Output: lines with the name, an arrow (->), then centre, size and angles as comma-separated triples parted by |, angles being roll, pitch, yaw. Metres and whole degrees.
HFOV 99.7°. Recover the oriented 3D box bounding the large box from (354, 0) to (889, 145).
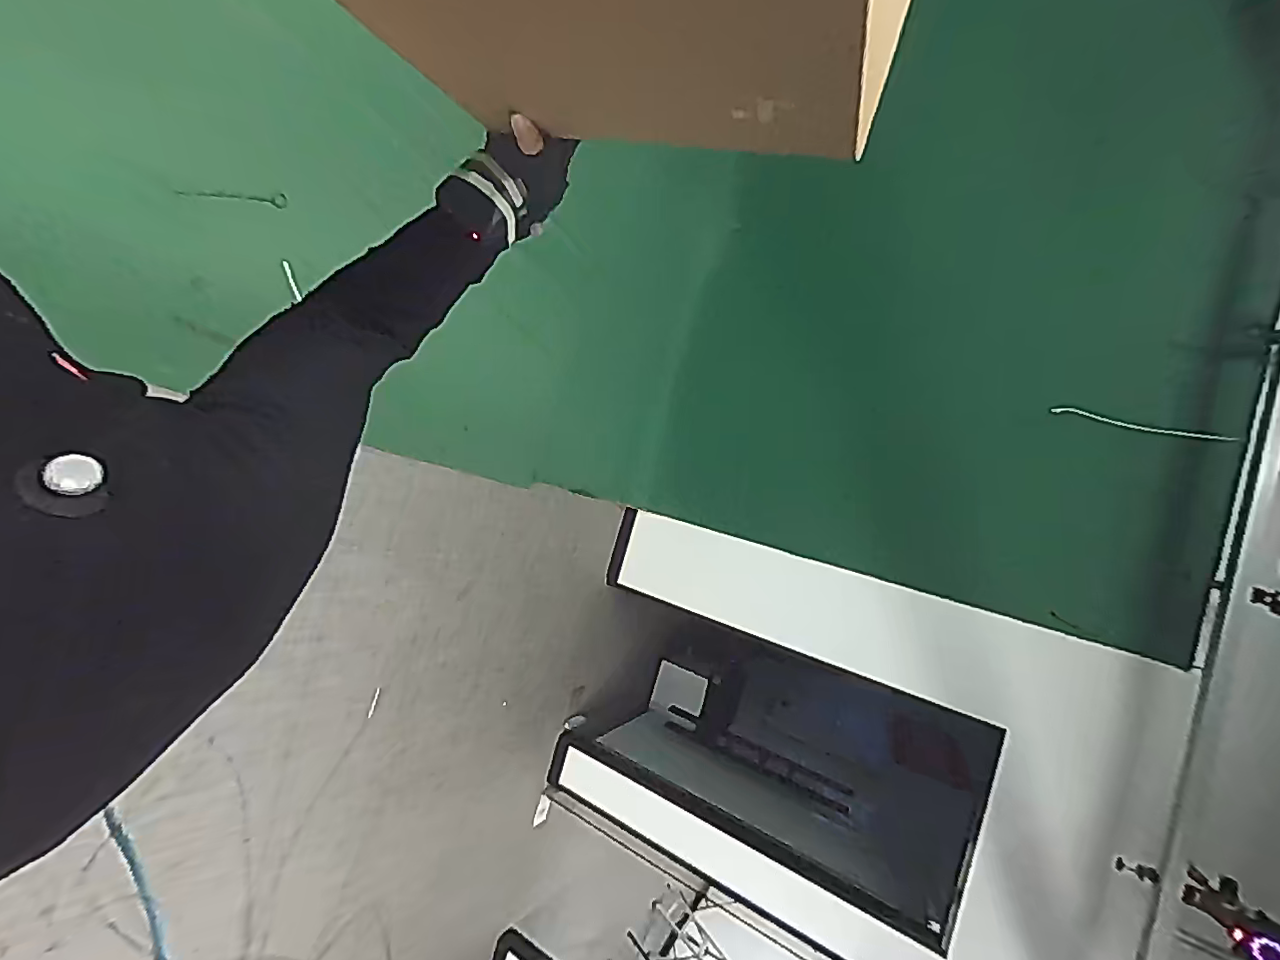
large box -> -0.025, -0.399, 0.222 | 0.408, 0.320, 0.320 | -21, 125, -70
